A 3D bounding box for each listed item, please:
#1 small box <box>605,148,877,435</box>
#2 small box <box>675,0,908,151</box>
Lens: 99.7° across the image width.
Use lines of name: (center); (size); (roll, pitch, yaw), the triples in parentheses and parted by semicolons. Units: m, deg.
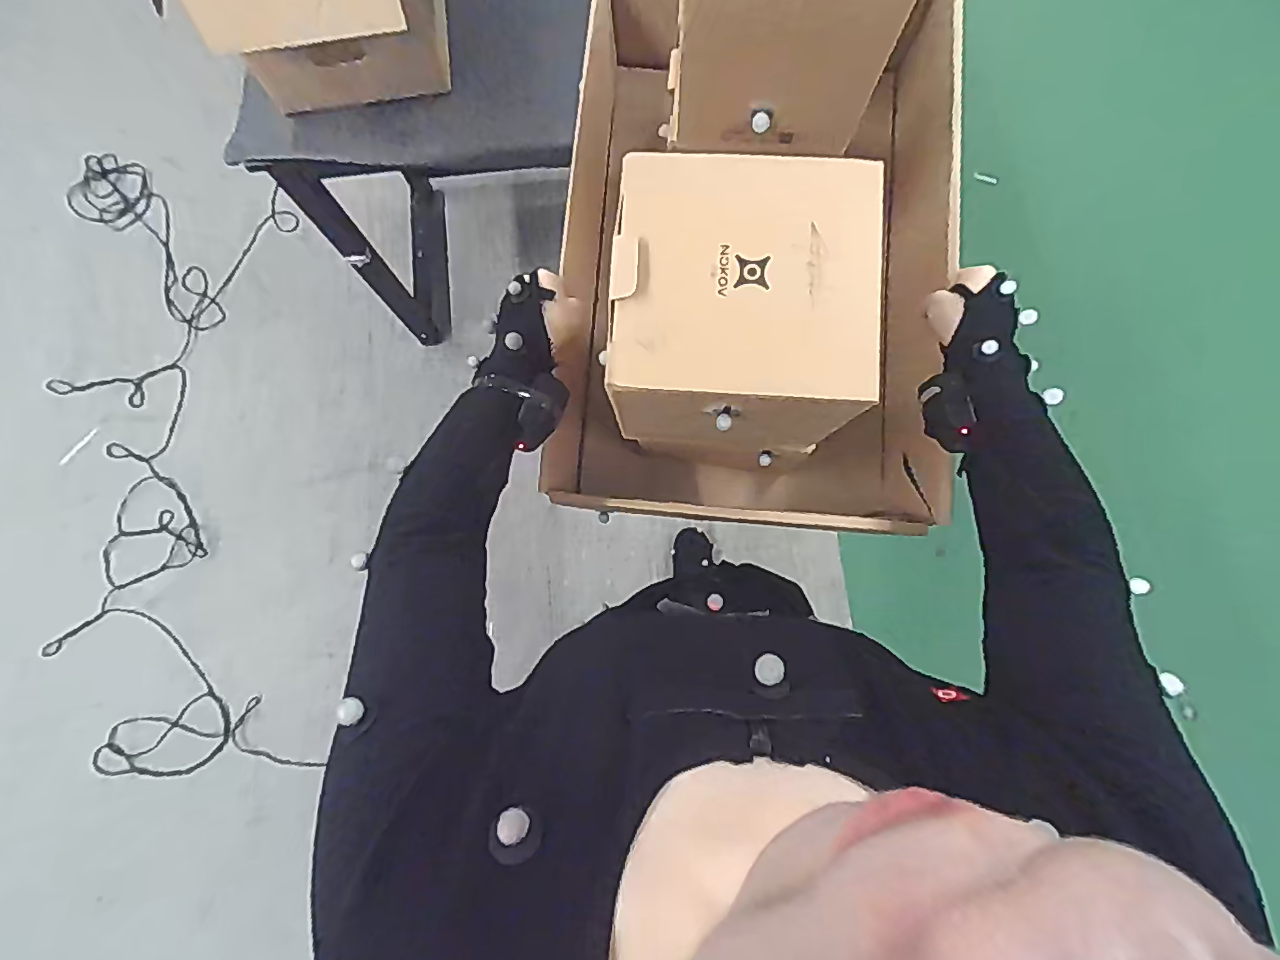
small box: (0.072, -0.134, 0.440); (0.179, 0.176, 0.168); (3, 85, 2)
small box: (0.119, -0.423, 0.463); (0.168, 0.176, 0.179); (4, 86, 3)
